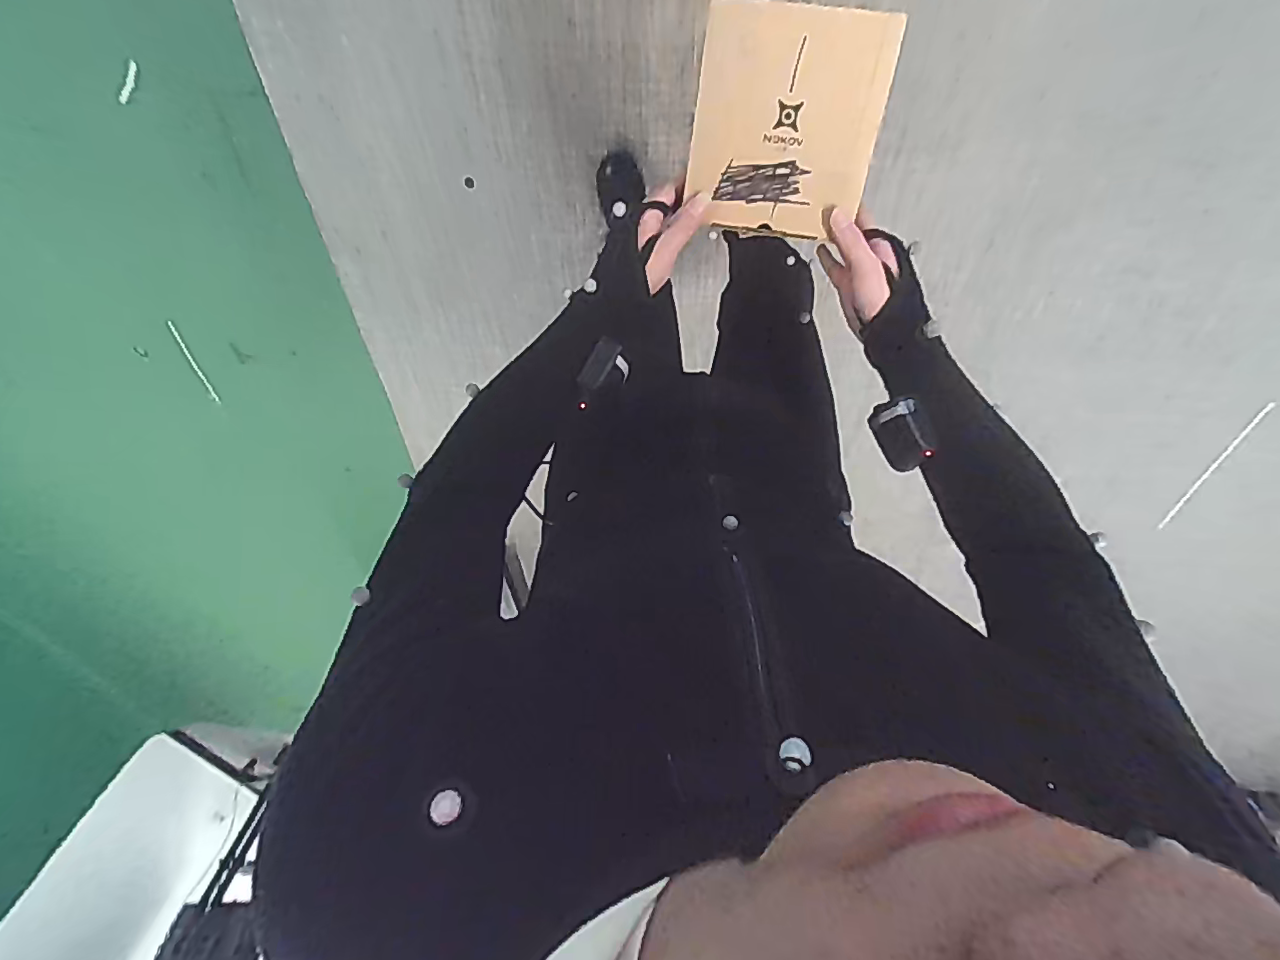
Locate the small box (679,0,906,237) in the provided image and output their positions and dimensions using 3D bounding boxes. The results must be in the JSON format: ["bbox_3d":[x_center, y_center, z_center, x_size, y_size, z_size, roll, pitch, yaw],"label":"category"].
[{"bbox_3d":[0.139,-0.354,0.553,0.168,0.176,0.179,9,115,4],"label":"small box"}]
